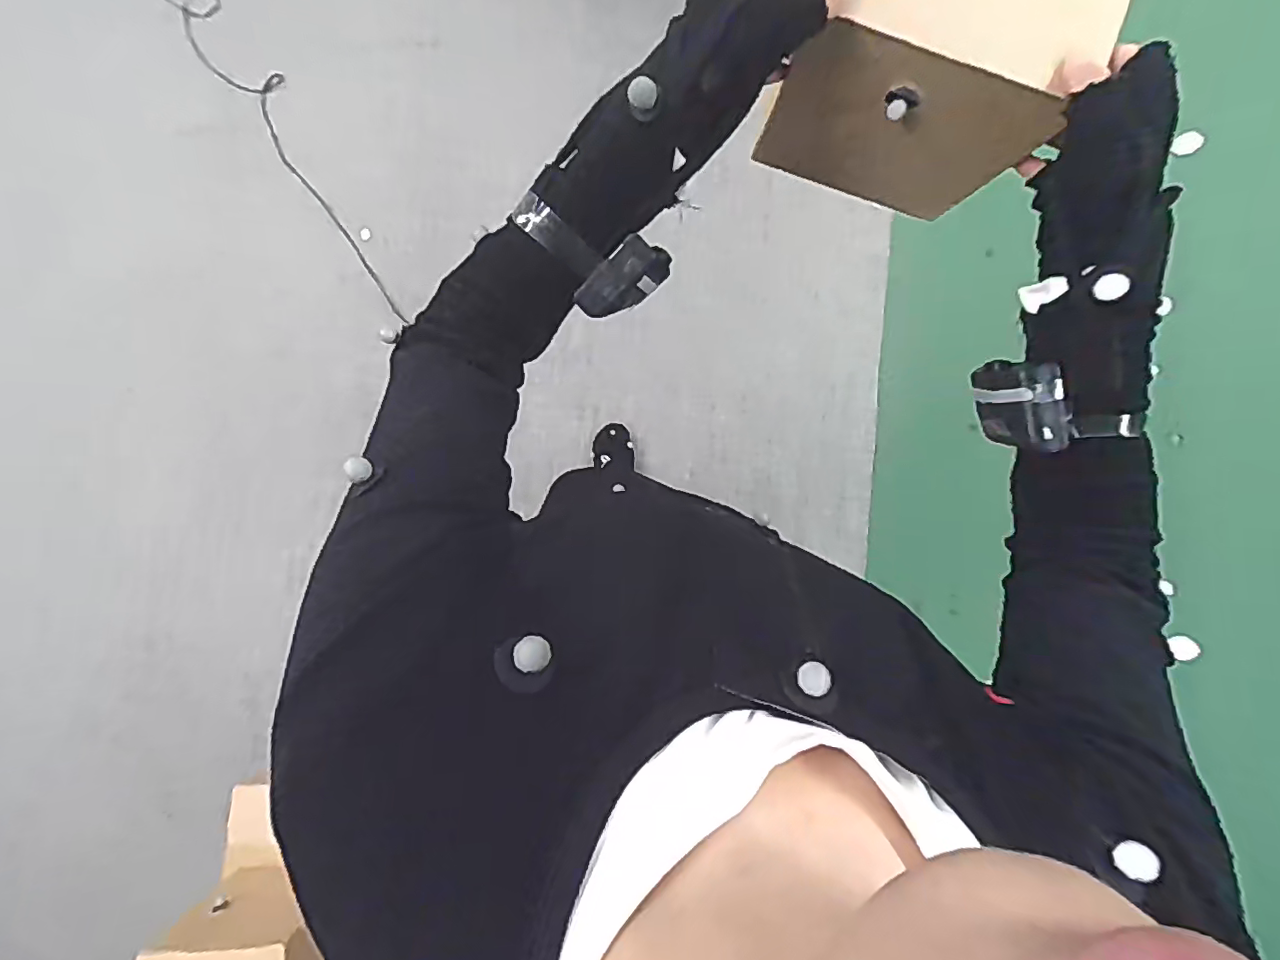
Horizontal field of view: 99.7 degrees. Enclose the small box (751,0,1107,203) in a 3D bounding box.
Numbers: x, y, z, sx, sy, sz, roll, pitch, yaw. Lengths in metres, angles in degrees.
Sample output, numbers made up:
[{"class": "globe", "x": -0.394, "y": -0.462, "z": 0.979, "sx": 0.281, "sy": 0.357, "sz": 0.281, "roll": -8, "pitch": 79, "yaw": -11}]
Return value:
[{"class": "small box", "x": 0.197, "y": -0.334, "z": 0.393, "sx": 0.179, "sy": 0.176, "sz": 0.168, "roll": 17, "pitch": 93, "yaw": -3}]
